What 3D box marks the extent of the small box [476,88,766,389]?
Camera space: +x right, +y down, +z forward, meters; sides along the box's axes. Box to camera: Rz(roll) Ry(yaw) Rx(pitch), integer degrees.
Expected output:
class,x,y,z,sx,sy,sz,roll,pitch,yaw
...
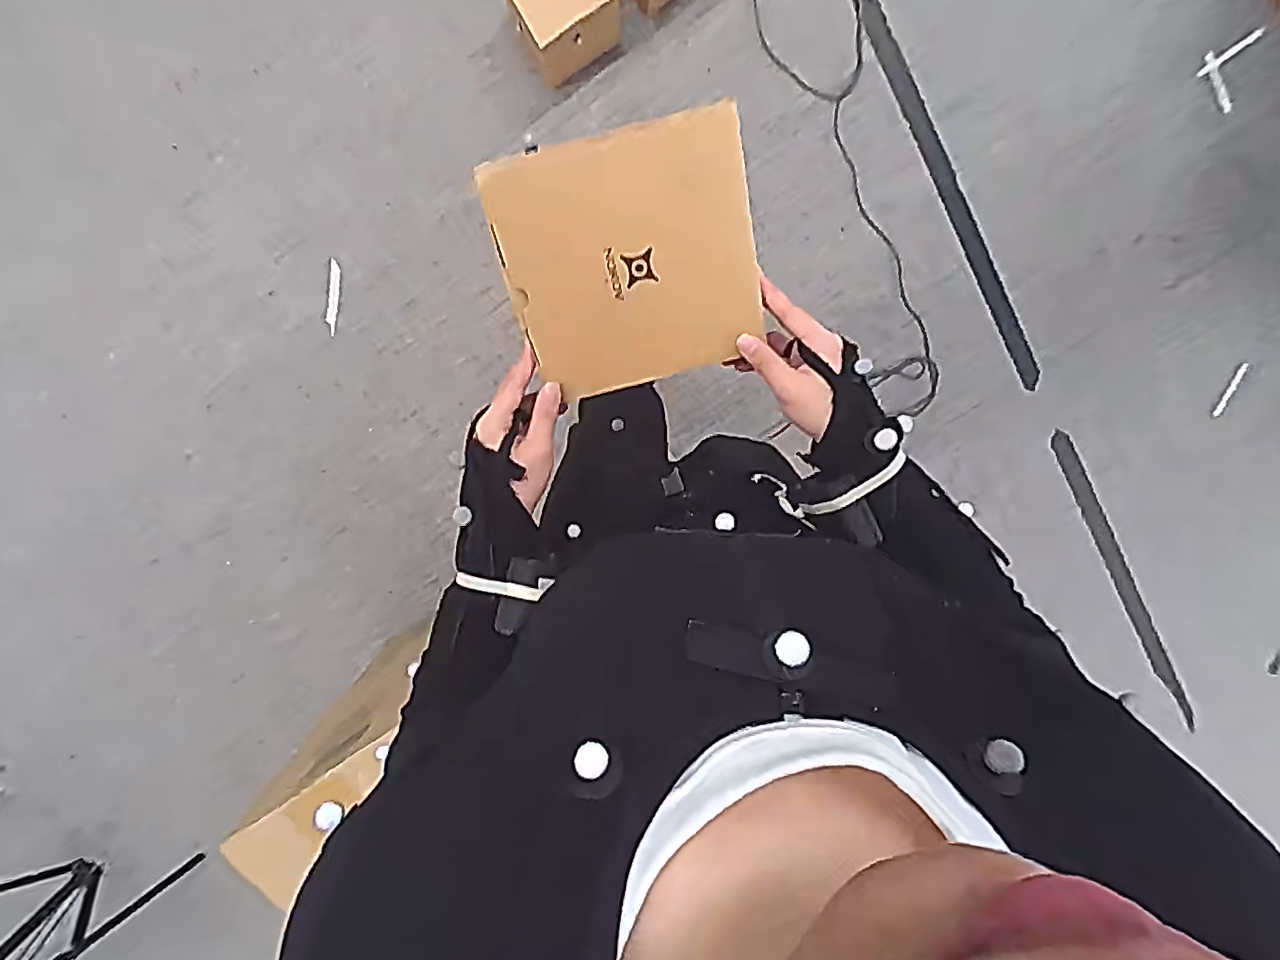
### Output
class,x,y,z,sx,sy,sz,roll,pitch,yaw
small box,-0.011,-0.196,0.446,0.179,0.176,0.168,-13,119,3

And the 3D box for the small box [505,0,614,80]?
class,x,y,z,sx,sy,sz,roll,pitch,yaw
small box,-0.161,-0.930,1.046,0.179,0.176,0.168,-31,104,6
